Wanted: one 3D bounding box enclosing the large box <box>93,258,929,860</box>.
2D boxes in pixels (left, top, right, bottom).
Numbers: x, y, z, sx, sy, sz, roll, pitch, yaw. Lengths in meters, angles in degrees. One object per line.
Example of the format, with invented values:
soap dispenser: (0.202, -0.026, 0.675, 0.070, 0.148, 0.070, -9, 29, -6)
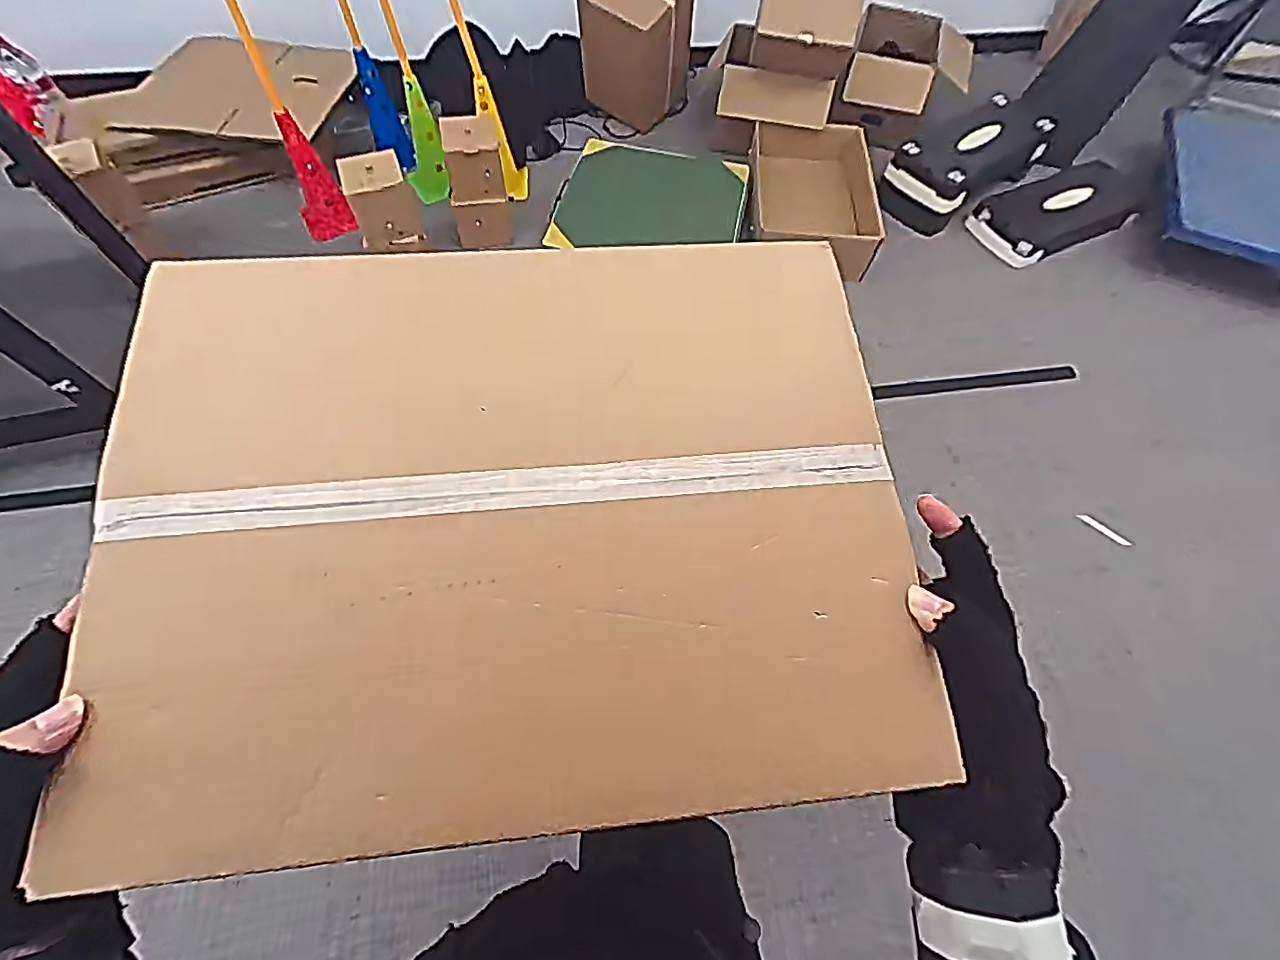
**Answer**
large box: (-0.073, 0.056, 0.444, 0.408, 0.320, 0.320, -4, 72, -5)
